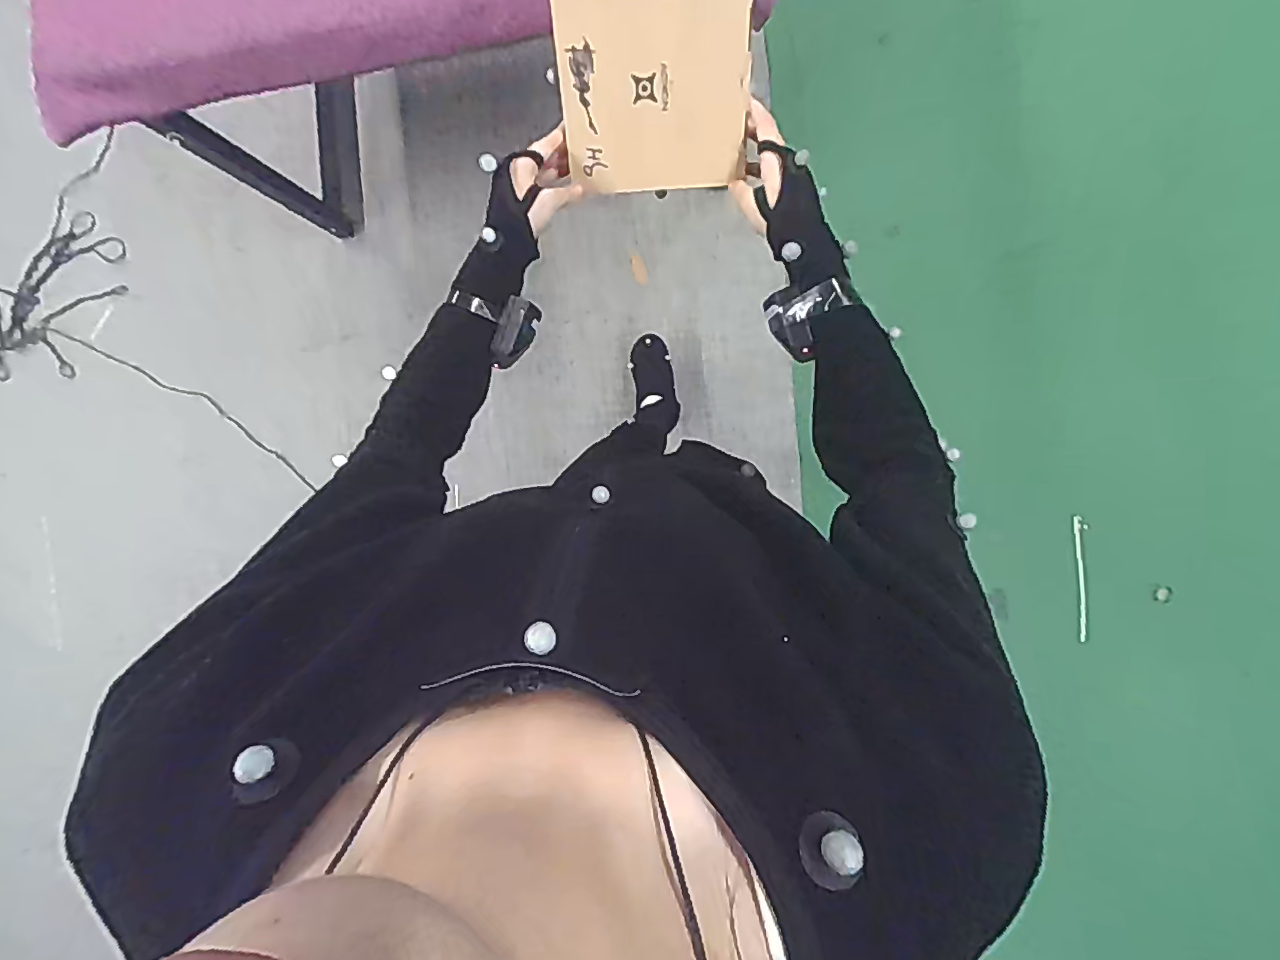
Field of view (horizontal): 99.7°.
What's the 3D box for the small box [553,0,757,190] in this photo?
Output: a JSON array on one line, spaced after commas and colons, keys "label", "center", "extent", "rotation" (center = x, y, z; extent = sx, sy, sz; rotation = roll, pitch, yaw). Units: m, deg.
[{"label": "small box", "center": [0.017, -0.403, 0.559], "extent": [0.179, 0.176, 0.168], "rotation": [-1, 122, 4]}]
